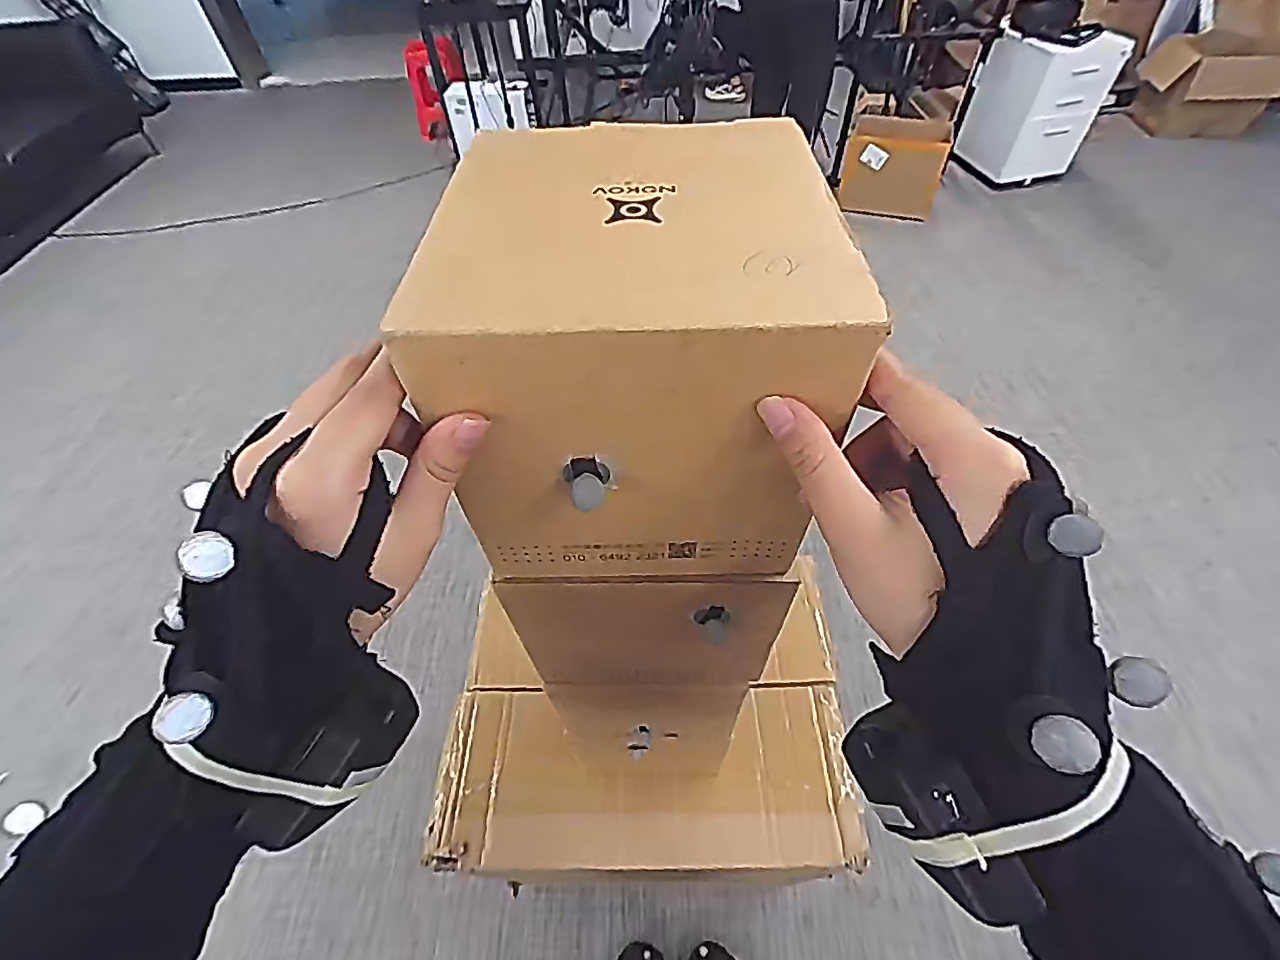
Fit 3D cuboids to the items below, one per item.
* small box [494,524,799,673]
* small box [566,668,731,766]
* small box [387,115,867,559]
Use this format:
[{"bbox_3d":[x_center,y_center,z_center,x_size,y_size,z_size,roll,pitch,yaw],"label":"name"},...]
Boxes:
[{"bbox_3d":[0.007,0.039,0.415,0.179,0.176,0.168,-1,51,2],"label":"small box"},{"bbox_3d":[0.014,0.247,0.670,0.179,0.176,0.168,0,51,2],"label":"small box"},{"bbox_3d":[-0.002,-0.068,0.292,0.168,0.176,0.179,-2,51,1],"label":"small box"}]
